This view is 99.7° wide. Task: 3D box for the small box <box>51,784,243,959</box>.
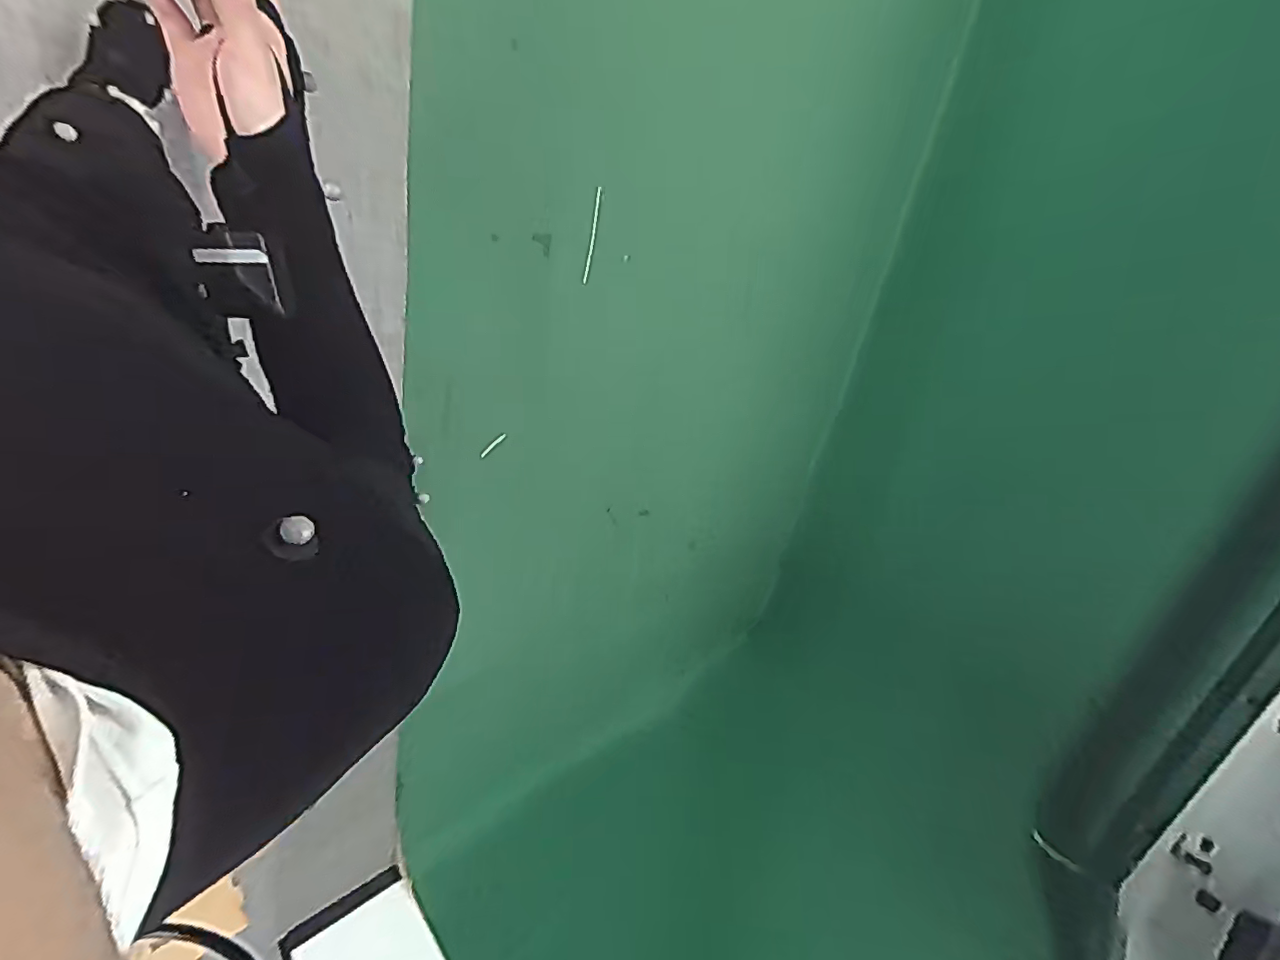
[{"bbox_3d":[-0.717,0.597,0.793,0.179,0.176,0.168,-15,125,-42],"label":"small box"}]
